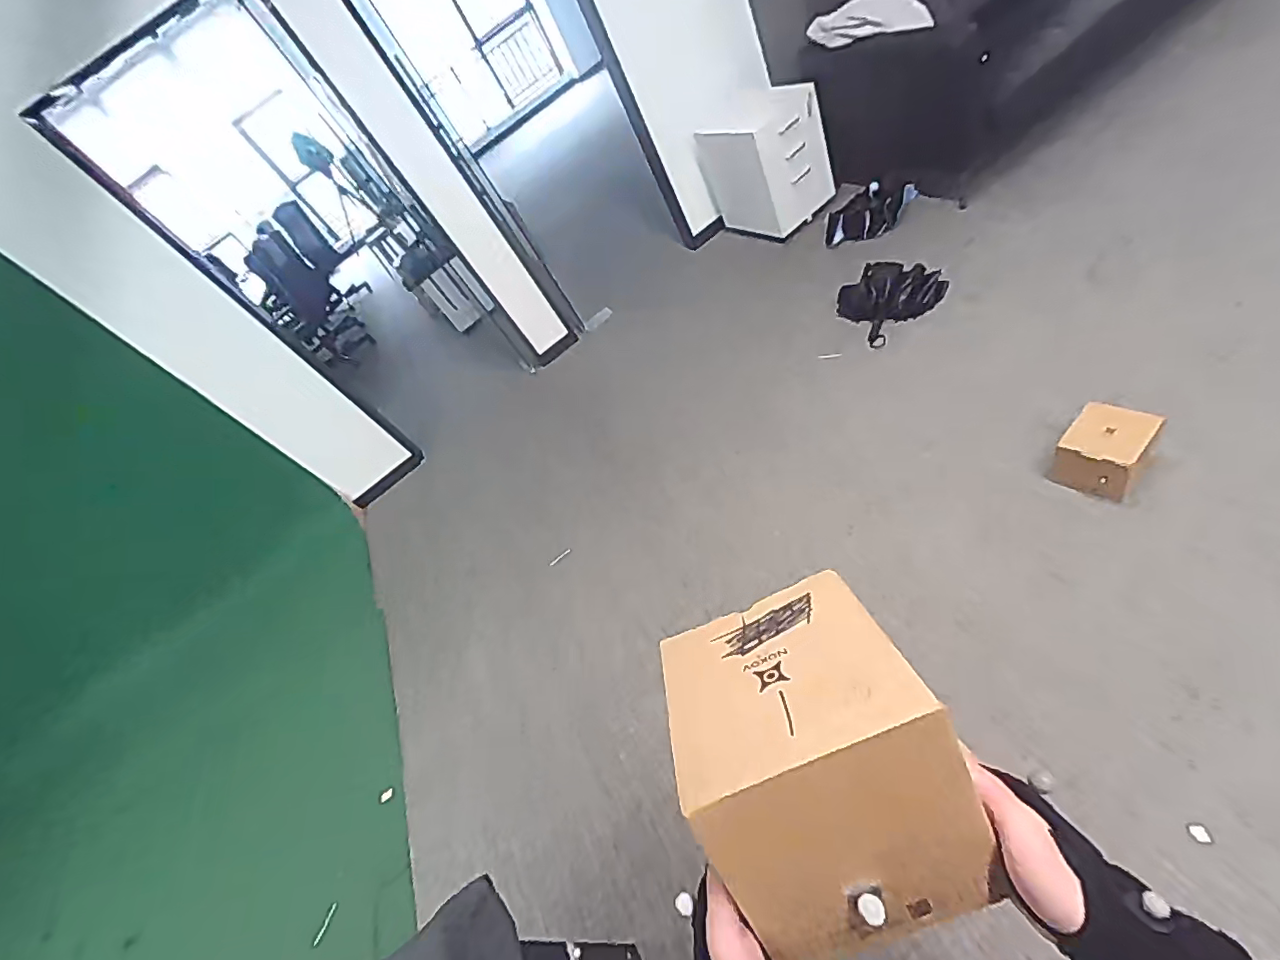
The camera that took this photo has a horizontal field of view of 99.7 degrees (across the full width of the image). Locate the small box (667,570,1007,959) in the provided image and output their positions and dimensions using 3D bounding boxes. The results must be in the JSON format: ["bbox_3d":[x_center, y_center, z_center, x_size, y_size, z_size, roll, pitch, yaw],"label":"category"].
[{"bbox_3d":[0.132,0.205,0.413,0.168,0.176,0.179,-26,17,7],"label":"small box"}]

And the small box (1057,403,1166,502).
[{"bbox_3d":[1.260,-0.071,1.458,0.179,0.176,0.168,-46,44,-12],"label":"small box"}]
